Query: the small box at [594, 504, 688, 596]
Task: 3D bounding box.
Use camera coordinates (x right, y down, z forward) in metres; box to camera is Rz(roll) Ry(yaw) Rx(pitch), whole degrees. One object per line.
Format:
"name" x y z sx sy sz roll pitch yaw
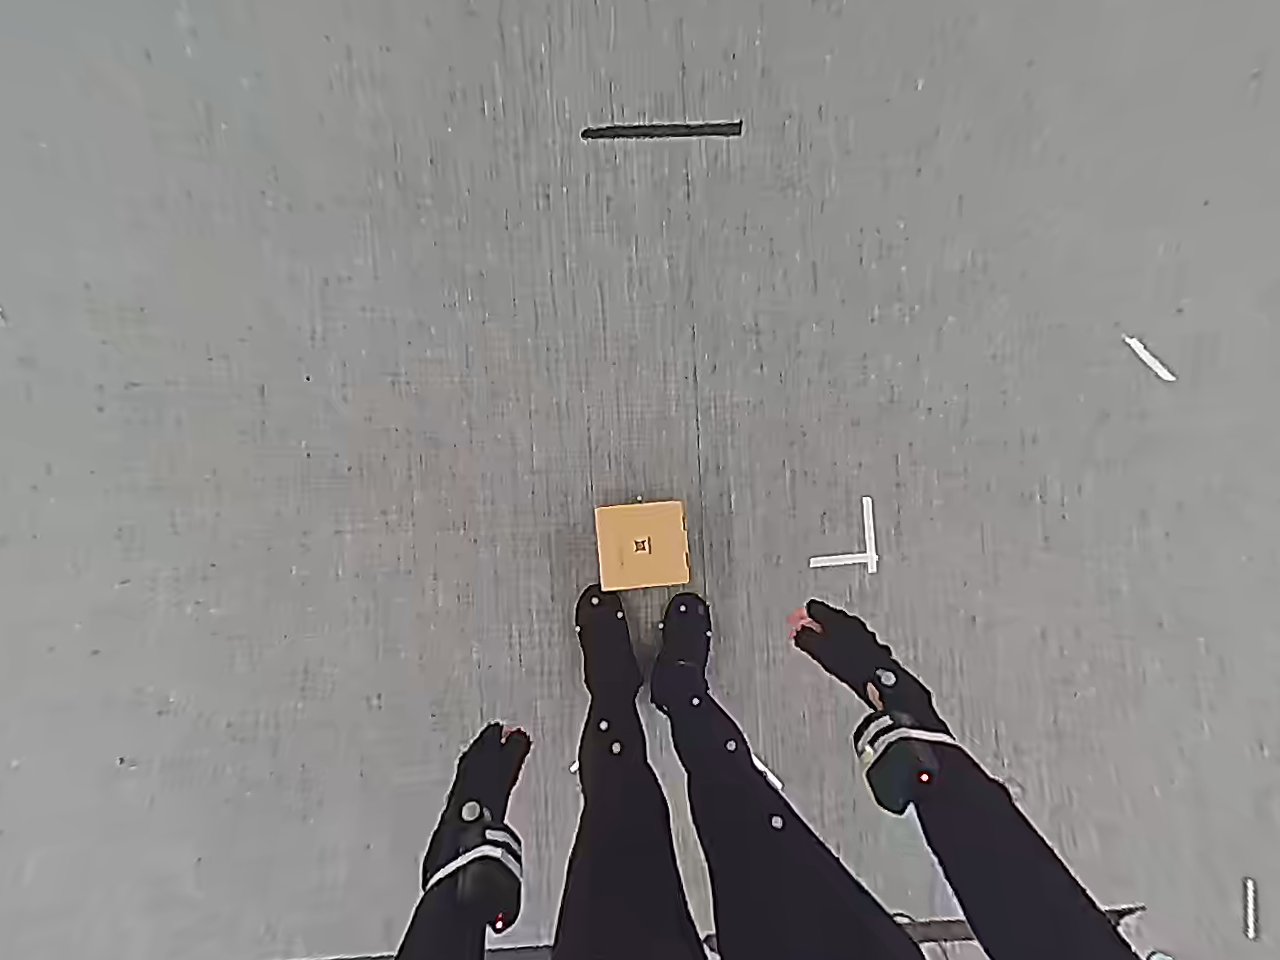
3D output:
"small box" -0.002 0.140 1.136 0.179 0.176 0.168 -5 88 -2
